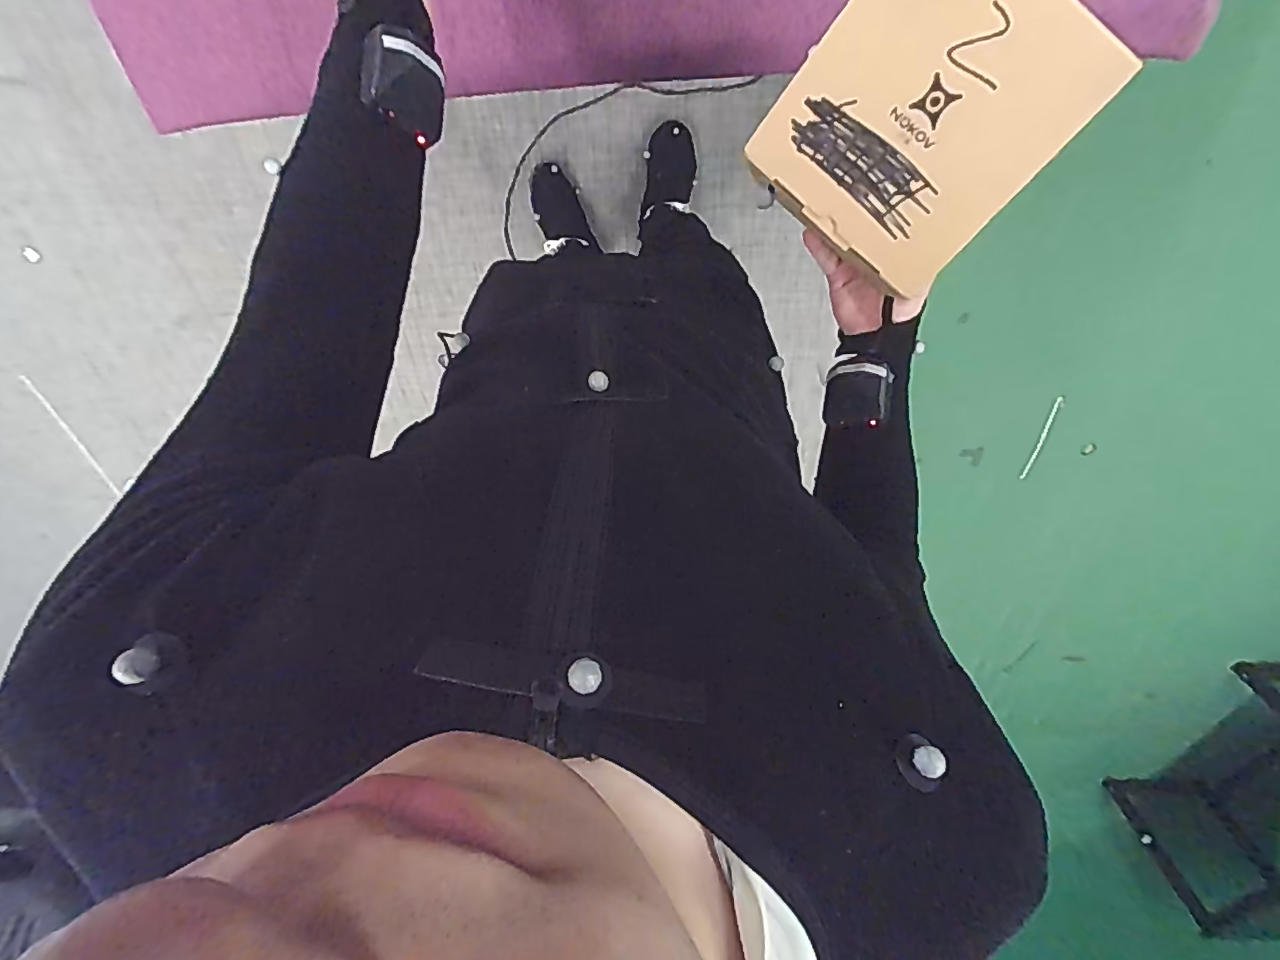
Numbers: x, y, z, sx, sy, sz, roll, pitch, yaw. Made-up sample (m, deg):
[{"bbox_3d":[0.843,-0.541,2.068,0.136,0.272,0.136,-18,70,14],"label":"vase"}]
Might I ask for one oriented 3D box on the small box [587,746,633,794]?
[{"bbox_3d":[-0.112,1.150,2.077,0.168,0.176,0.179,-1,124,0],"label":"small box"}]
